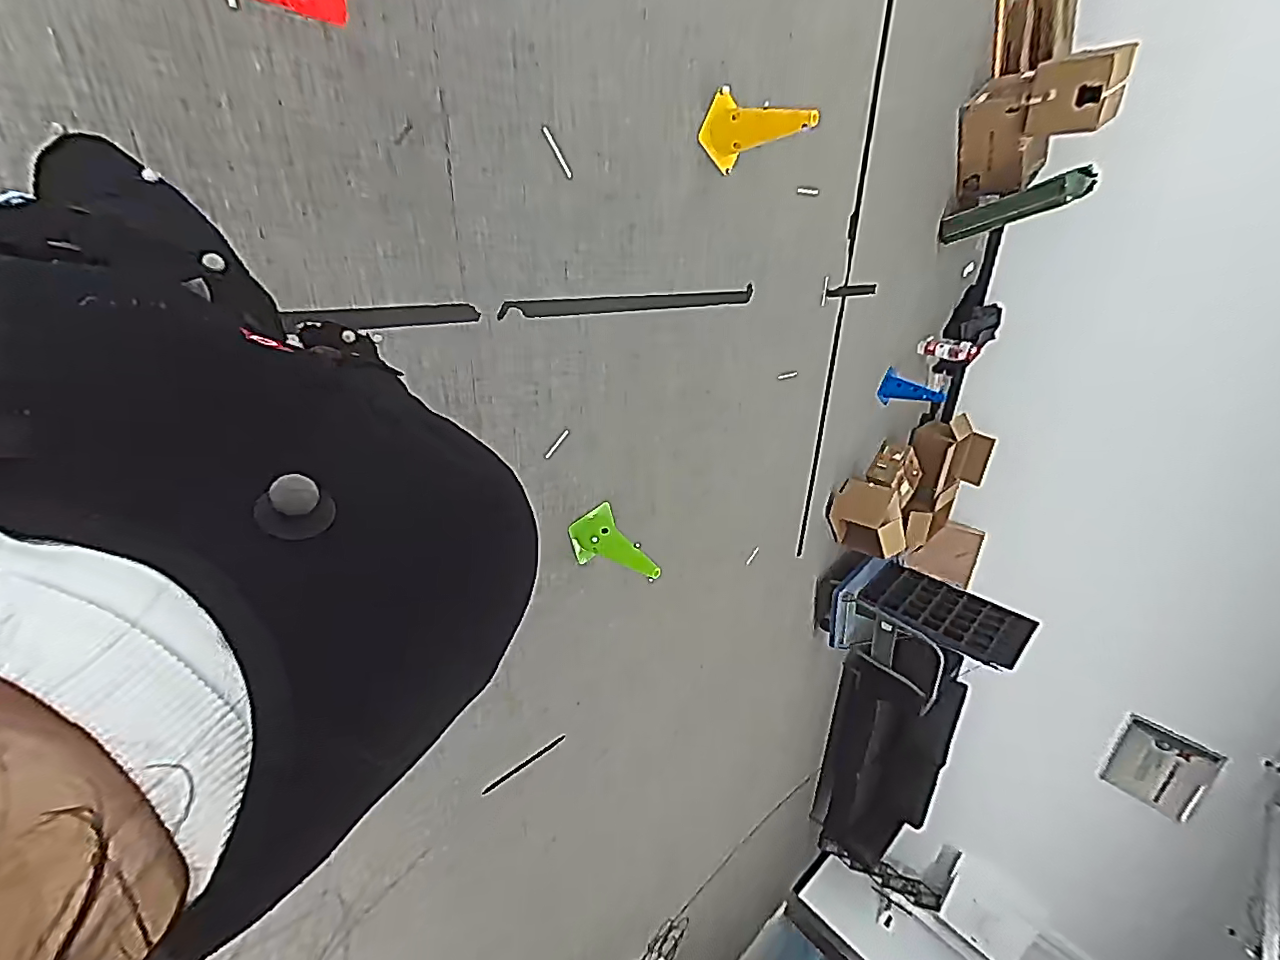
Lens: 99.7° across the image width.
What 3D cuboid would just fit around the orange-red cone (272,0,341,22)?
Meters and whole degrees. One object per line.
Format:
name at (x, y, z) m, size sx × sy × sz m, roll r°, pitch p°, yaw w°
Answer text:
orange-red cone at (-0.551, -0.946, 0.892) m, size 0.199 × 0.360 × 0.198 m, roll -12°, pitch 118°, yaw -43°

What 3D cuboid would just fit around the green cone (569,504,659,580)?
green cone at (-0.065, 0.263, 1.967) m, size 0.202 × 0.368 × 0.200 m, roll -34°, pitch 129°, yaw -28°
